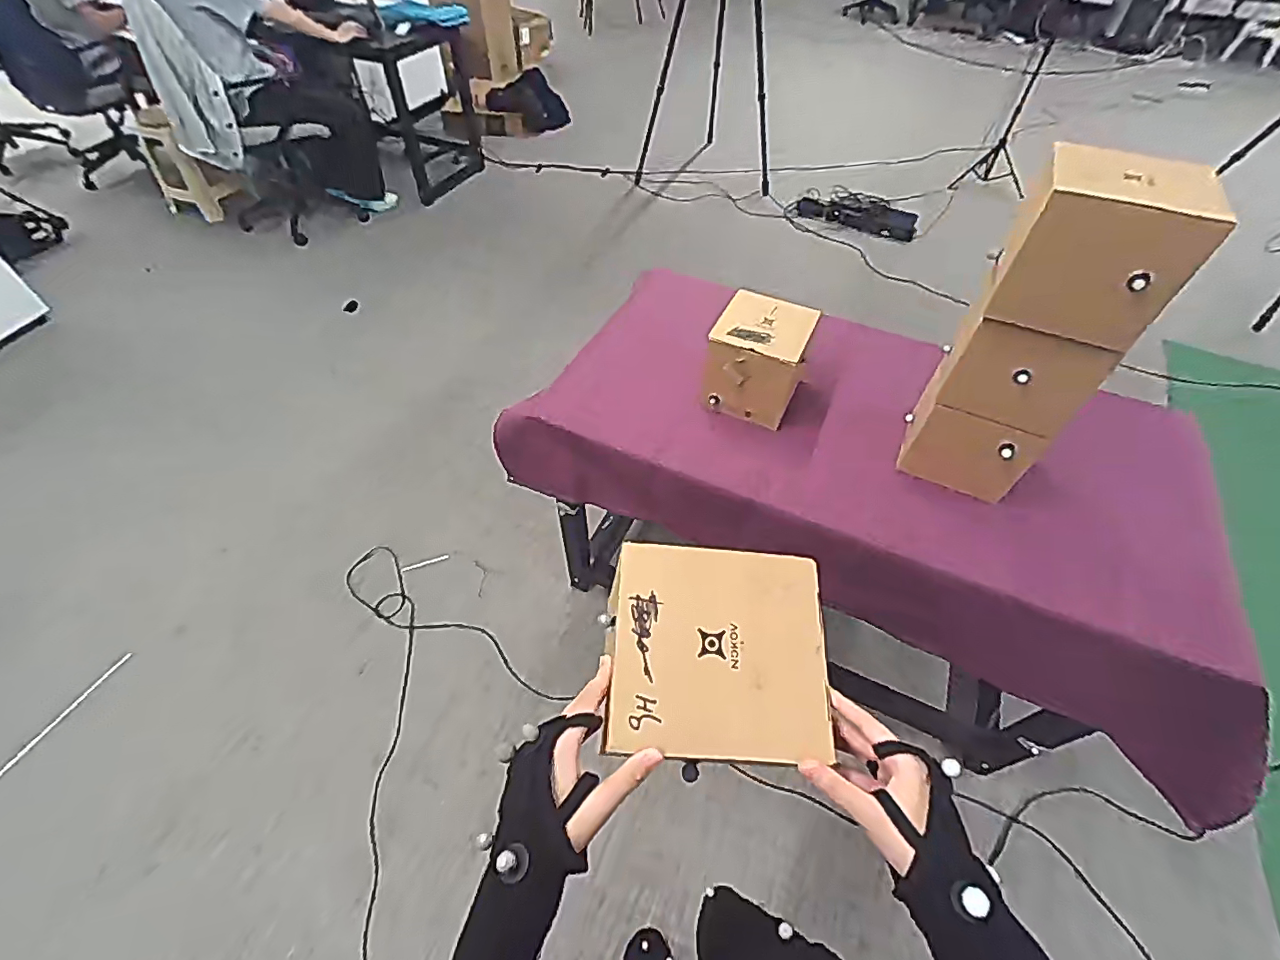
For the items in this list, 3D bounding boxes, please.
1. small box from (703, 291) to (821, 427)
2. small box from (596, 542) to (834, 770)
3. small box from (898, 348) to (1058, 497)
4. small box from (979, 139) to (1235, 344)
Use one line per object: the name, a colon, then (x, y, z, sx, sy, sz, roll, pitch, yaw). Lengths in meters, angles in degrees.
small box: (0.229, -0.231, 1.048, 0.168, 0.176, 0.179, 21, 53, 15)
small box: (0.058, 0.173, 0.509, 0.179, 0.176, 0.168, 7, 61, -4)
small box: (0.584, -0.096, 0.944, 0.179, 0.176, 0.168, 22, 54, 16)
small box: (0.569, -0.297, 0.684, 0.179, 0.176, 0.168, 22, 53, 16)
